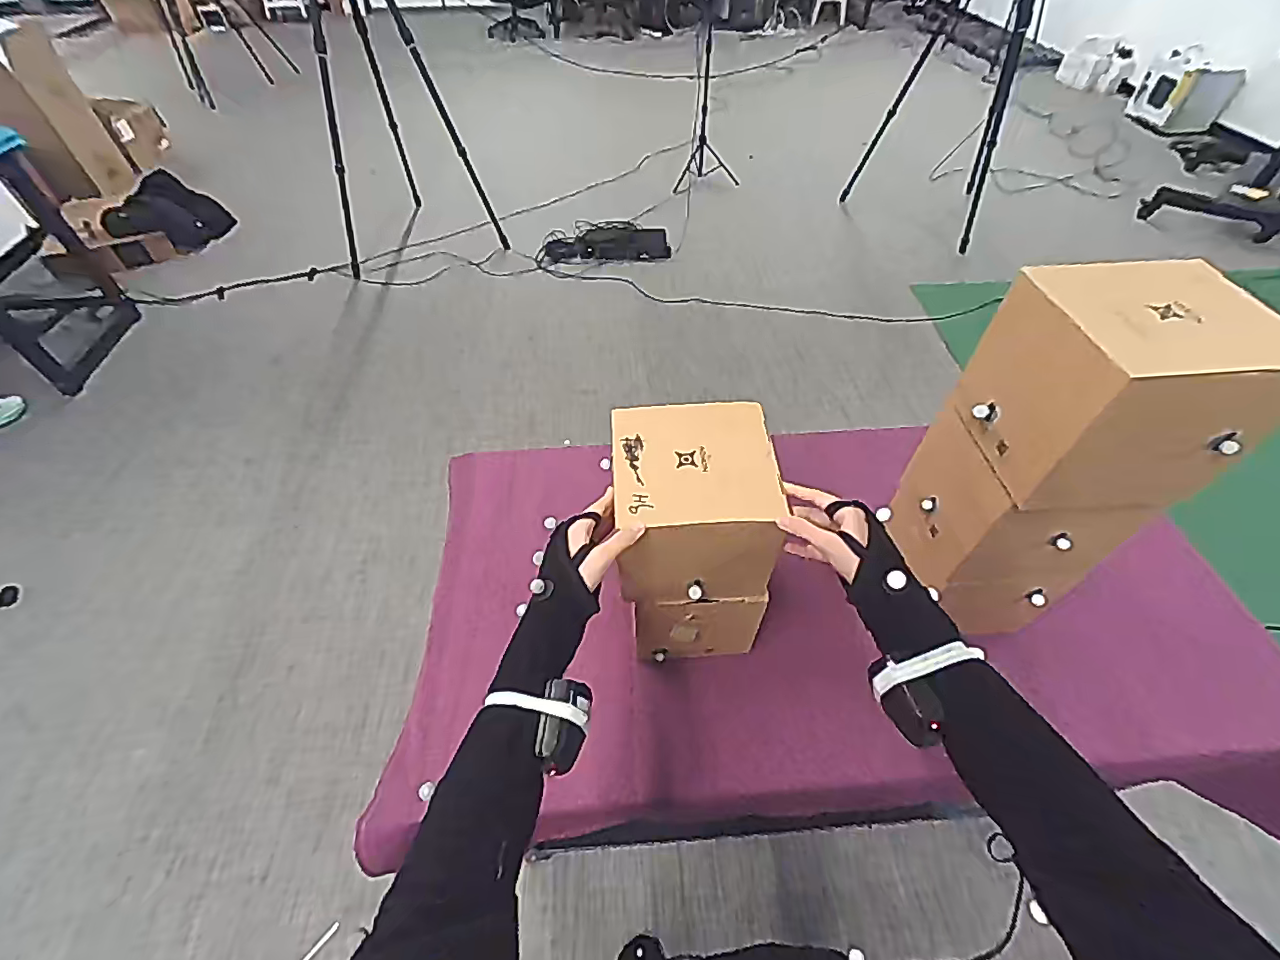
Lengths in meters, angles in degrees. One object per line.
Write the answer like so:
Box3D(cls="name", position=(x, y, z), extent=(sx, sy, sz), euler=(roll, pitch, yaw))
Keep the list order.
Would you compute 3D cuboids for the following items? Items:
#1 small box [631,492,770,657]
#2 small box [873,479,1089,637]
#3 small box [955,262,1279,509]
Box3D(cls="small box", position=(0.076, 0.140, 0.766), extent=(0.168, 0.176, 0.179), euler=(-3, 49, -2))
Box3D(cls="small box", position=(0.468, 0.114, 0.777), extent=(0.179, 0.176, 0.168), euler=(-3, 50, -1))
Box3D(cls="small box", position=(0.449, -0.086, 0.518), extent=(0.179, 0.176, 0.168), euler=(-3, 49, -1))
